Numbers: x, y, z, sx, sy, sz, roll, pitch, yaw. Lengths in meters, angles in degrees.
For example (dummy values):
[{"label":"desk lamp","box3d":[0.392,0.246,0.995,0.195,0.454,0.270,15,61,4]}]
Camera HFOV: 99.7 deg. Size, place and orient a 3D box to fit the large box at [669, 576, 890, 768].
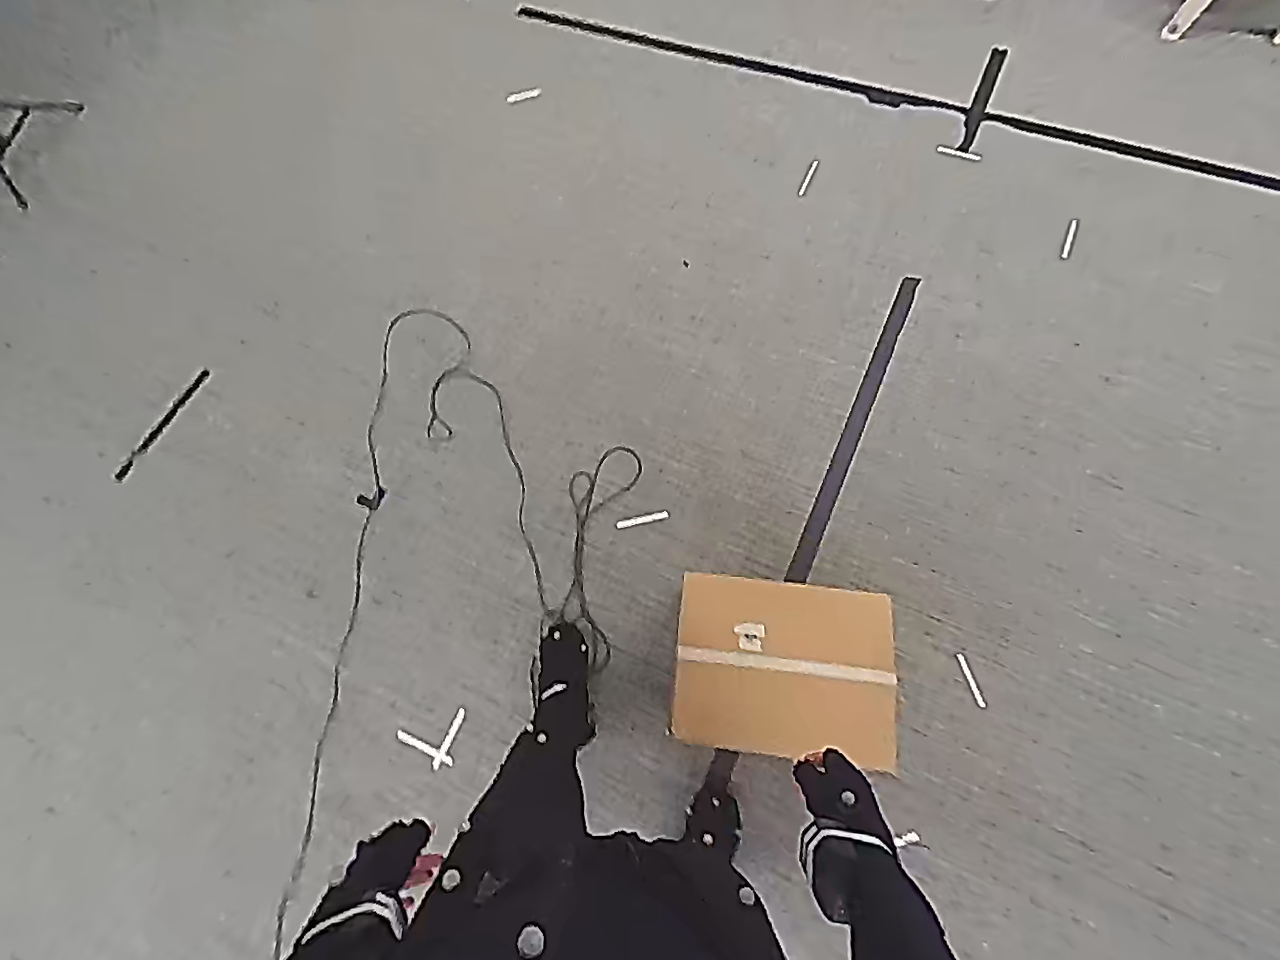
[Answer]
[{"label":"large box","box3d":[0.279,0.400,1.169,0.408,0.320,0.320,5,71,6]}]
